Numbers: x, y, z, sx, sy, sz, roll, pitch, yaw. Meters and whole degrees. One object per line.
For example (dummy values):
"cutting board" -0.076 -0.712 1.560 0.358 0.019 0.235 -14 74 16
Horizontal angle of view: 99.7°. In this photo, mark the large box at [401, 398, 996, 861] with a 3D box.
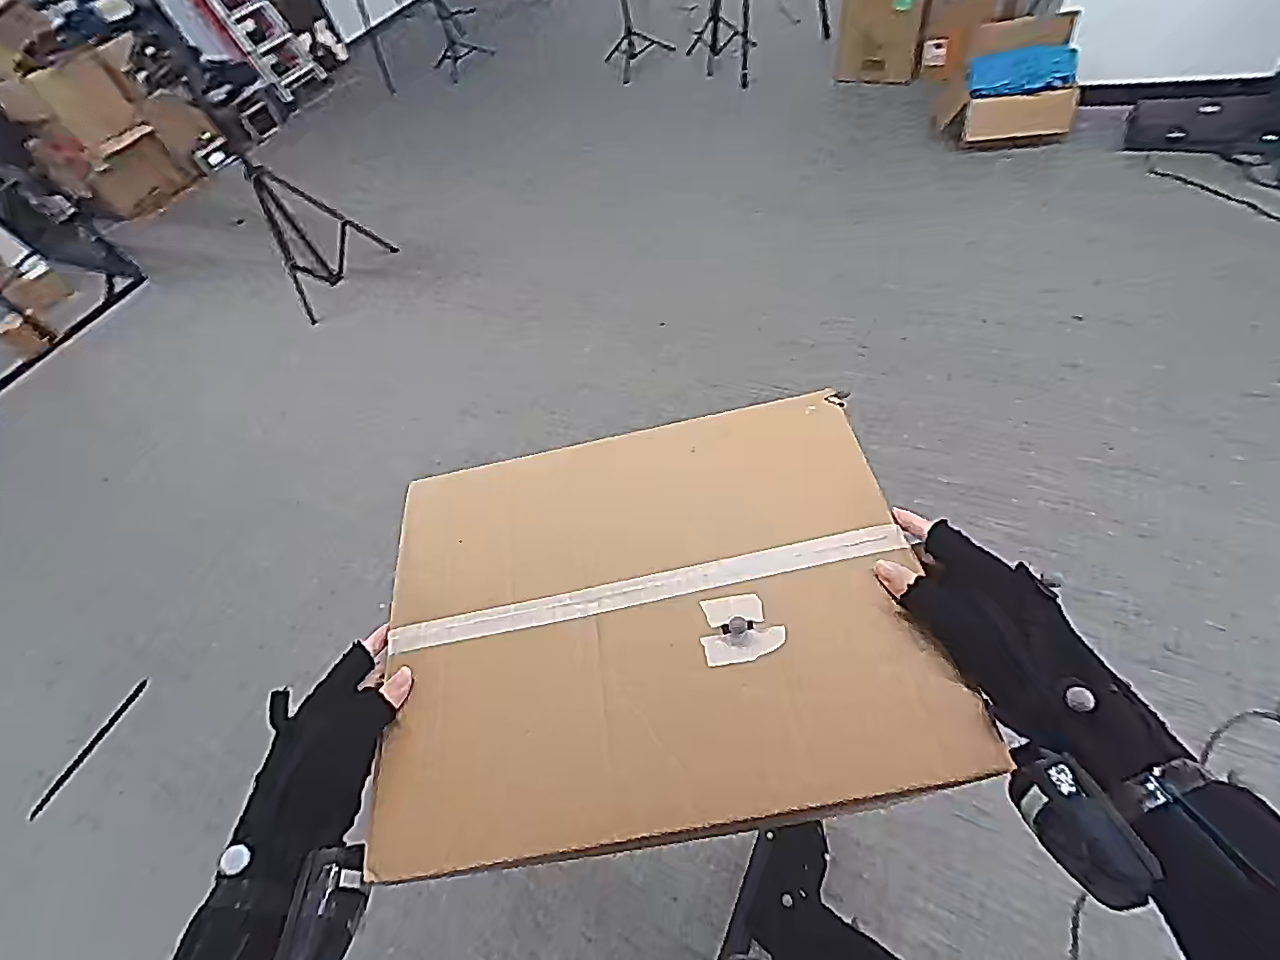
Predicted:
"large box" 0.034 0.168 0.554 0.408 0.320 0.320 -12 56 3
